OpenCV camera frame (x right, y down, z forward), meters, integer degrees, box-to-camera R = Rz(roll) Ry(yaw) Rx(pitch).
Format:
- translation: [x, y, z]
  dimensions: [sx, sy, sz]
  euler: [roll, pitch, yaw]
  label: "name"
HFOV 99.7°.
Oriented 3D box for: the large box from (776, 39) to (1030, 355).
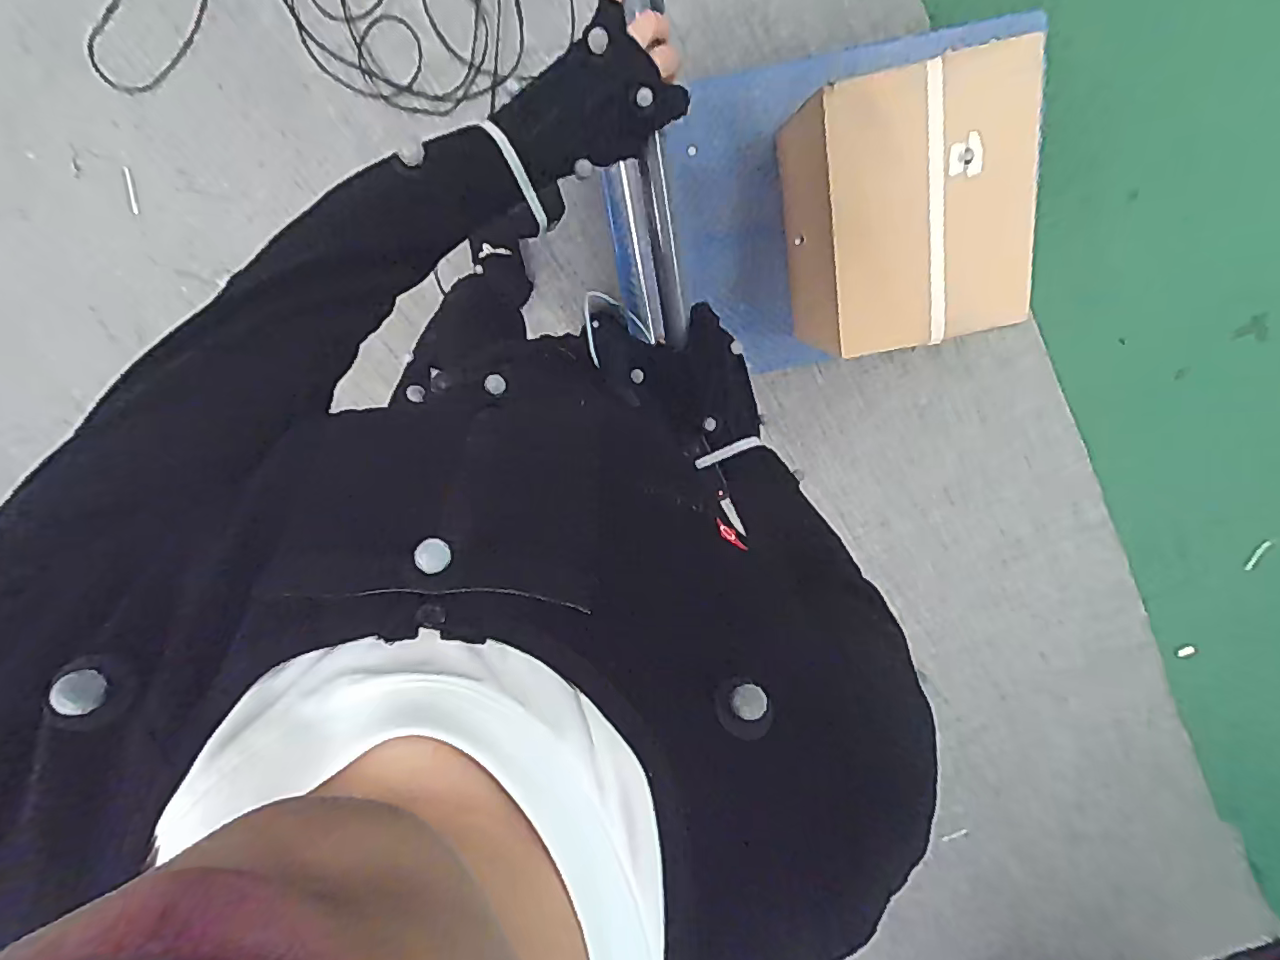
- translation: [0.455, -0.477, 0.994]
  dimensions: [0.320, 0.320, 0.408]
  euler: [-11, 111, 4]
  label: "large box"
